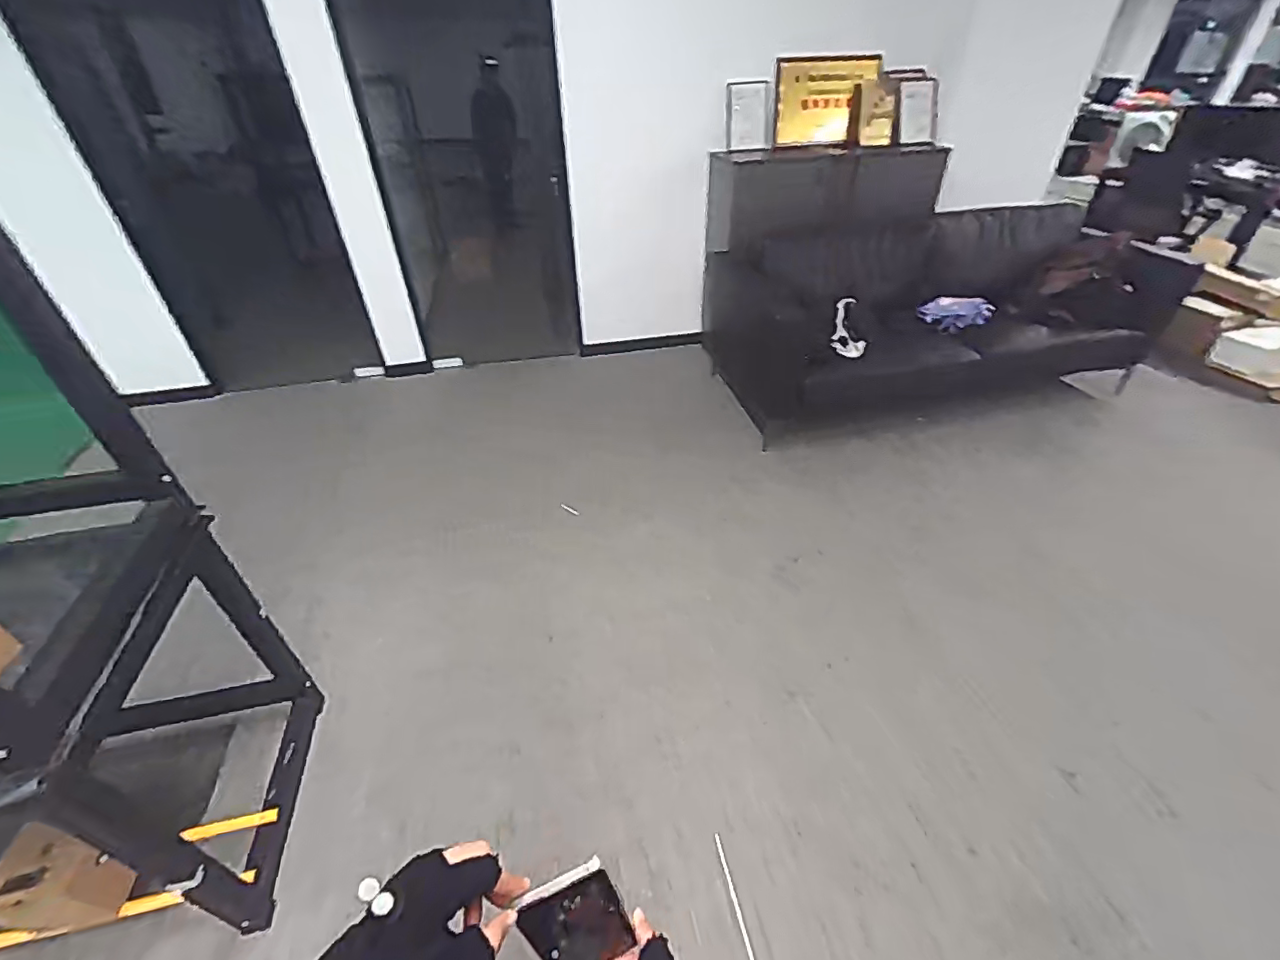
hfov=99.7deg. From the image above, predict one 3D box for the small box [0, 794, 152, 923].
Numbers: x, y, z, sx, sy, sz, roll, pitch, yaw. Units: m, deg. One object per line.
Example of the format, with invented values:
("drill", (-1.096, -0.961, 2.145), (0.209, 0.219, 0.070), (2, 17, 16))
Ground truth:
("small box", (-1.195, 0.800, 1.139), (0.168, 0.176, 0.179), (-6, 39, -7))
